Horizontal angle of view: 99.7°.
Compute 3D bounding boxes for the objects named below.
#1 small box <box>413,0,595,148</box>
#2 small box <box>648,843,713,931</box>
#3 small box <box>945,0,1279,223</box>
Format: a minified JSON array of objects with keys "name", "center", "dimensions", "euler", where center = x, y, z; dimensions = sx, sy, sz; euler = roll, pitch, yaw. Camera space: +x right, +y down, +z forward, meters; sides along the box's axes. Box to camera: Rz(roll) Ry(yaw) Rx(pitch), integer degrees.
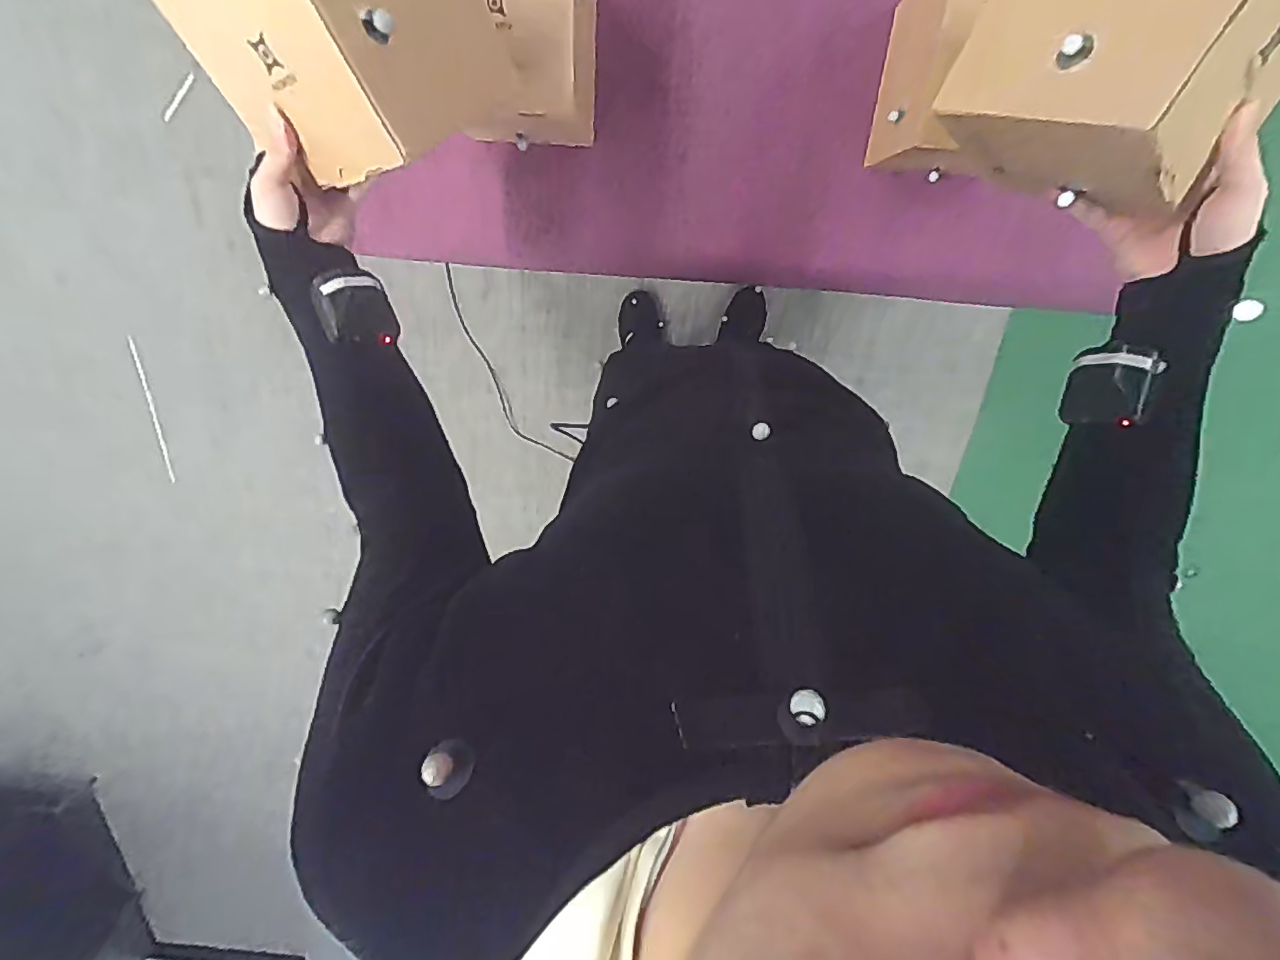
[{"name":"small box","center":[-0.147,-0.507,0.629],"dimensions":[0.168,0.176,0.179],"euler":[5,113,2]},{"name":"small box","center":[0.132,1.350,1.801],"dimensions":[0.179,0.176,0.168],"euler":[14,113,-3]},{"name":"small box","center":[0.370,-0.333,0.414],"dimensions":[0.168,0.176,0.179],"euler":[6,120,-41]}]
